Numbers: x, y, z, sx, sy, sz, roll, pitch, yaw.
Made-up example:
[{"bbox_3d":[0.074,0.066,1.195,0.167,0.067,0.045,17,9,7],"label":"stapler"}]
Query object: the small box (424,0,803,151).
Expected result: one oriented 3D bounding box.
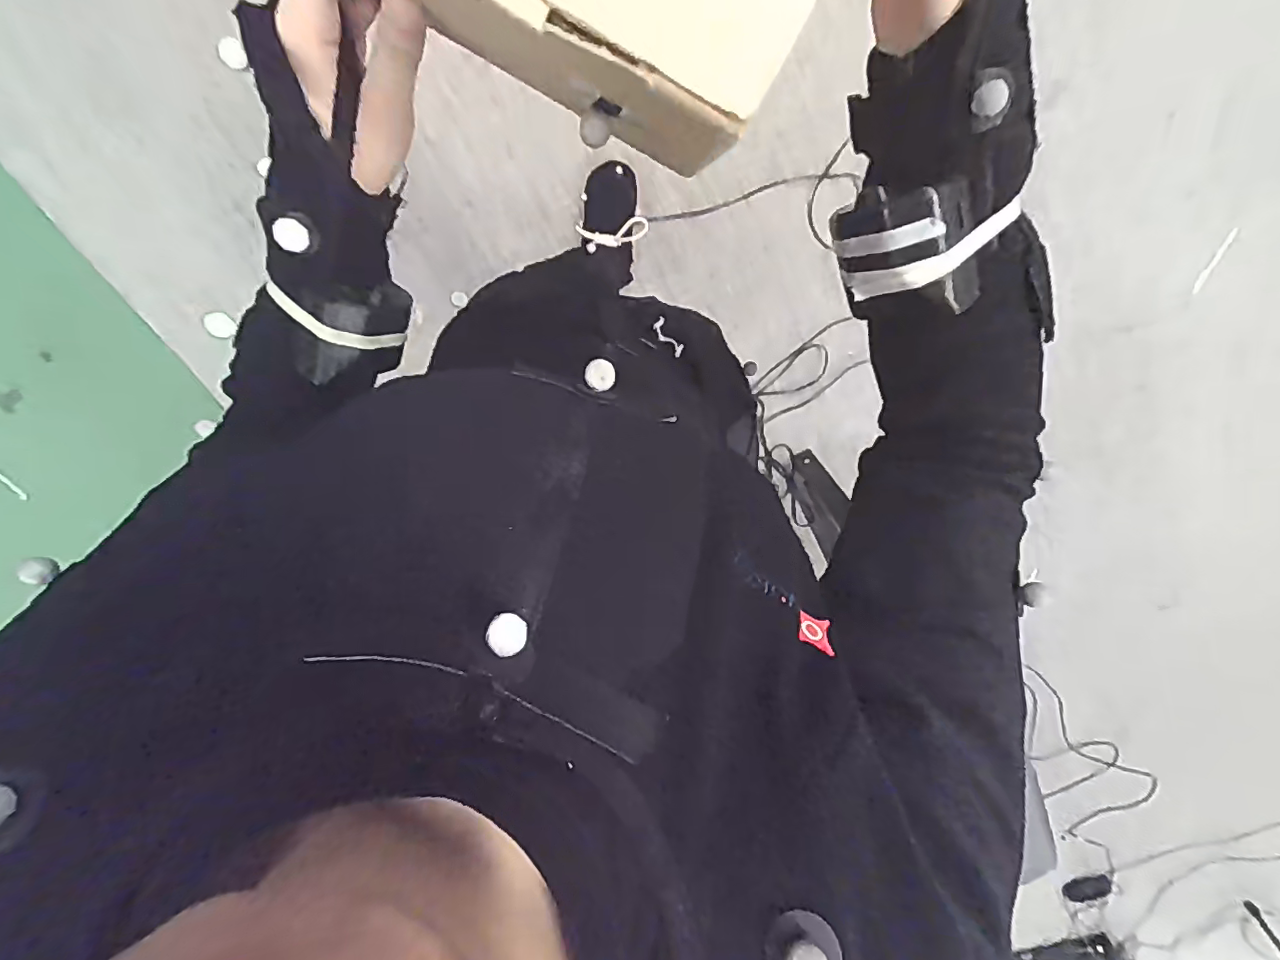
[{"bbox_3d":[-0.006,-0.233,0.167,0.168,0.176,0.179,23,113,-13],"label":"small box"}]
